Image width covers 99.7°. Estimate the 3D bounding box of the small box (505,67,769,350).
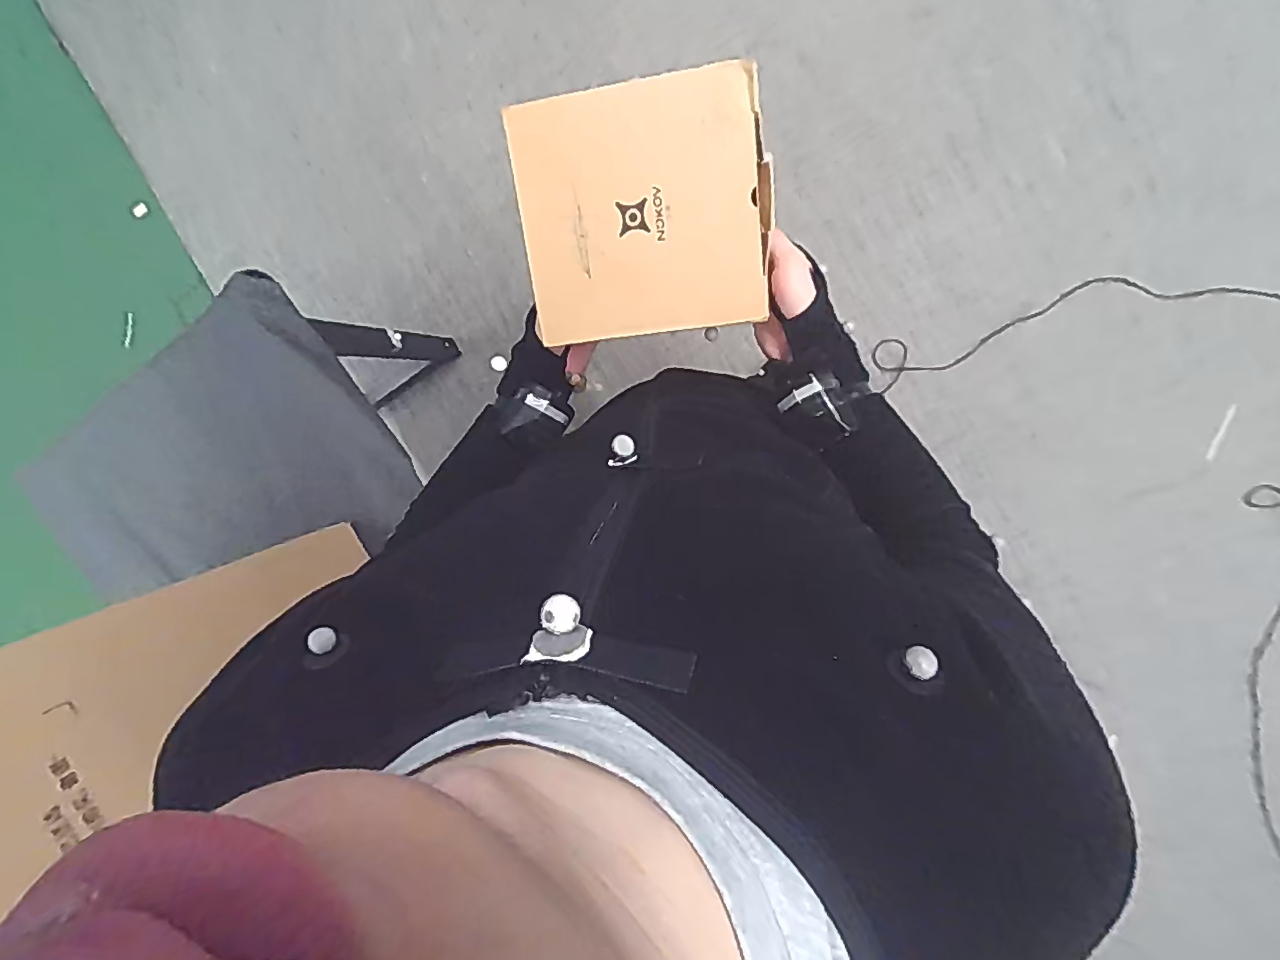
[{"bbox_3d":[0.010,-0.211,0.462,0.179,0.176,0.168,-5,107,10],"label":"small box"}]
